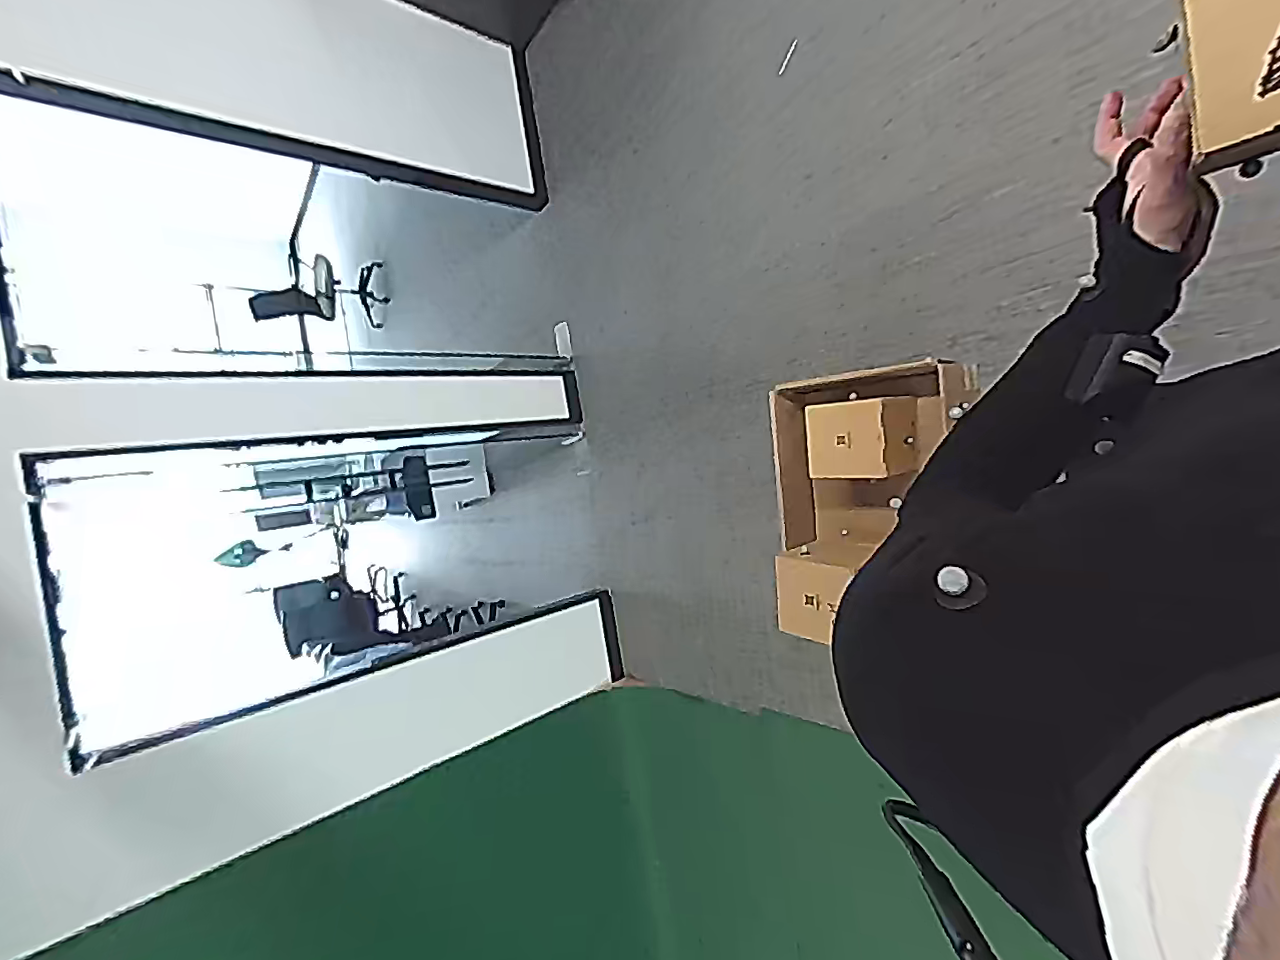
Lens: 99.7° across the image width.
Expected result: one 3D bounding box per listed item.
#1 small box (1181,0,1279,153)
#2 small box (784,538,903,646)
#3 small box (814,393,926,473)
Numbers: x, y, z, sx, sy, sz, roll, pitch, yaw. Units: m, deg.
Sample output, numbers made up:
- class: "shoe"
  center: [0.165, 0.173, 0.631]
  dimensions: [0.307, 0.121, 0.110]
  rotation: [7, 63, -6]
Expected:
- class: "small box"
  center: [0.454, -0.329, 0.334]
  dimensions: [0.168, 0.176, 0.179]
  rotation: [-6, 102, 47]
- class: "small box"
  center: [0.424, 0.223, 1.130]
  dimensions: [0.179, 0.176, 0.168]
  rotation: [3, 100, 50]
- class: "small box"
  center: [0.516, -0.104, 1.215]
  dimensions: [0.179, 0.176, 0.168]
  rotation: [0, 97, 50]
